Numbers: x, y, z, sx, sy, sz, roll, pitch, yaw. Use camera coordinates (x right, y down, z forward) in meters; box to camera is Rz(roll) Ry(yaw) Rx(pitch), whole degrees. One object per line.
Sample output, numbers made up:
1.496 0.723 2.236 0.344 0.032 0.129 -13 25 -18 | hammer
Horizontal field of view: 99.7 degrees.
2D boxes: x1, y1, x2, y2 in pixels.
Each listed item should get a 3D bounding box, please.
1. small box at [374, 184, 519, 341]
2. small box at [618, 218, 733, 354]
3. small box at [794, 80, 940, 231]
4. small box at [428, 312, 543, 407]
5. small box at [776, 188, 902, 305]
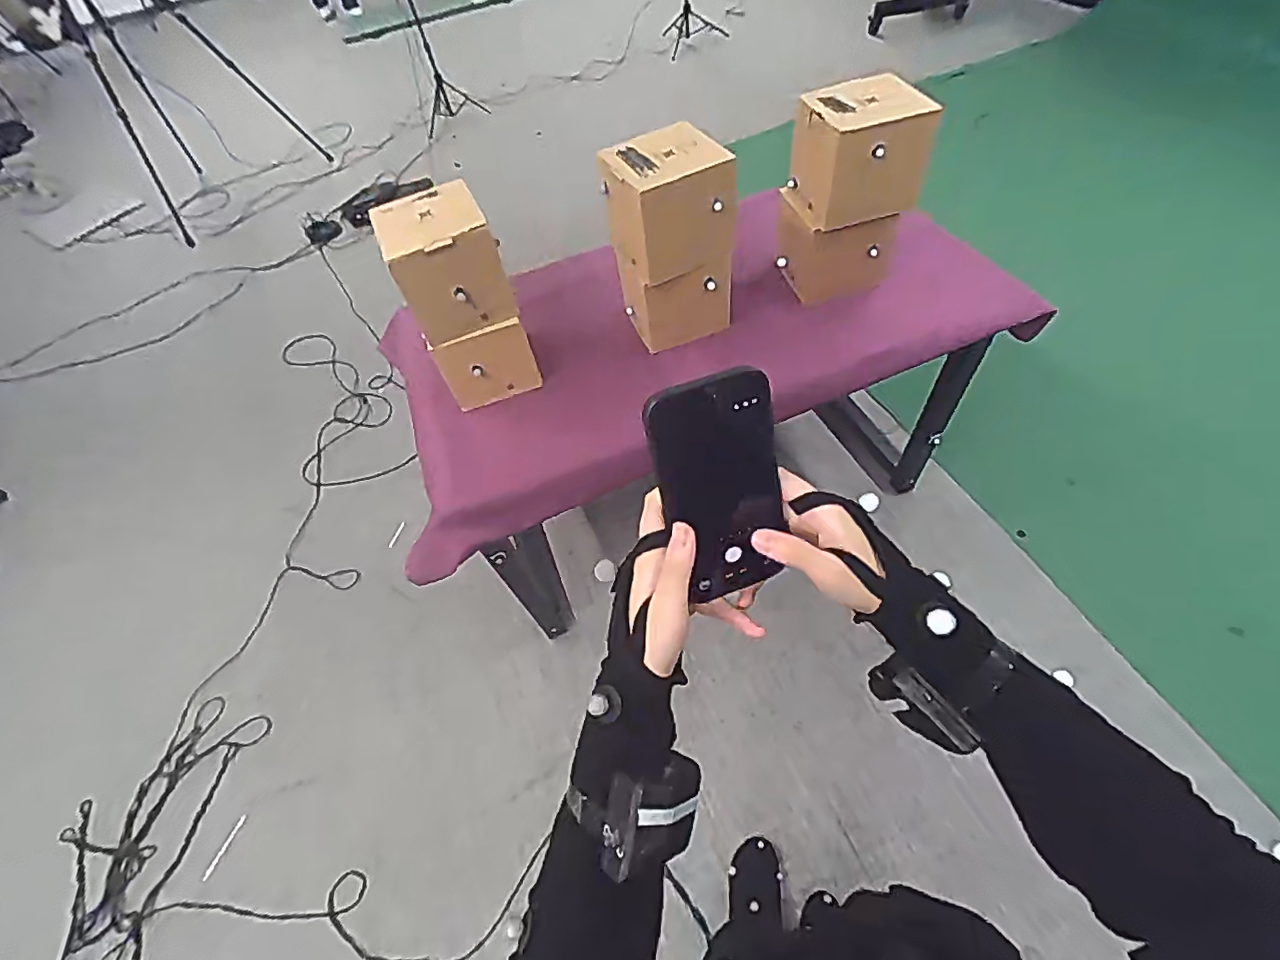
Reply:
-0.323 -0.362 0.924 0.168 0.176 0.179 -24 56 -9 | small box
0.071 -0.382 1.078 0.179 0.176 0.168 -20 55 -6 | small box
0.387 -0.572 0.964 0.179 0.176 0.168 -15 54 -3 | small box
-0.300 -0.263 1.053 0.168 0.176 0.179 -20 55 -5 | small box
0.393 -0.488 1.105 0.179 0.176 0.168 -15 54 -2 | small box
